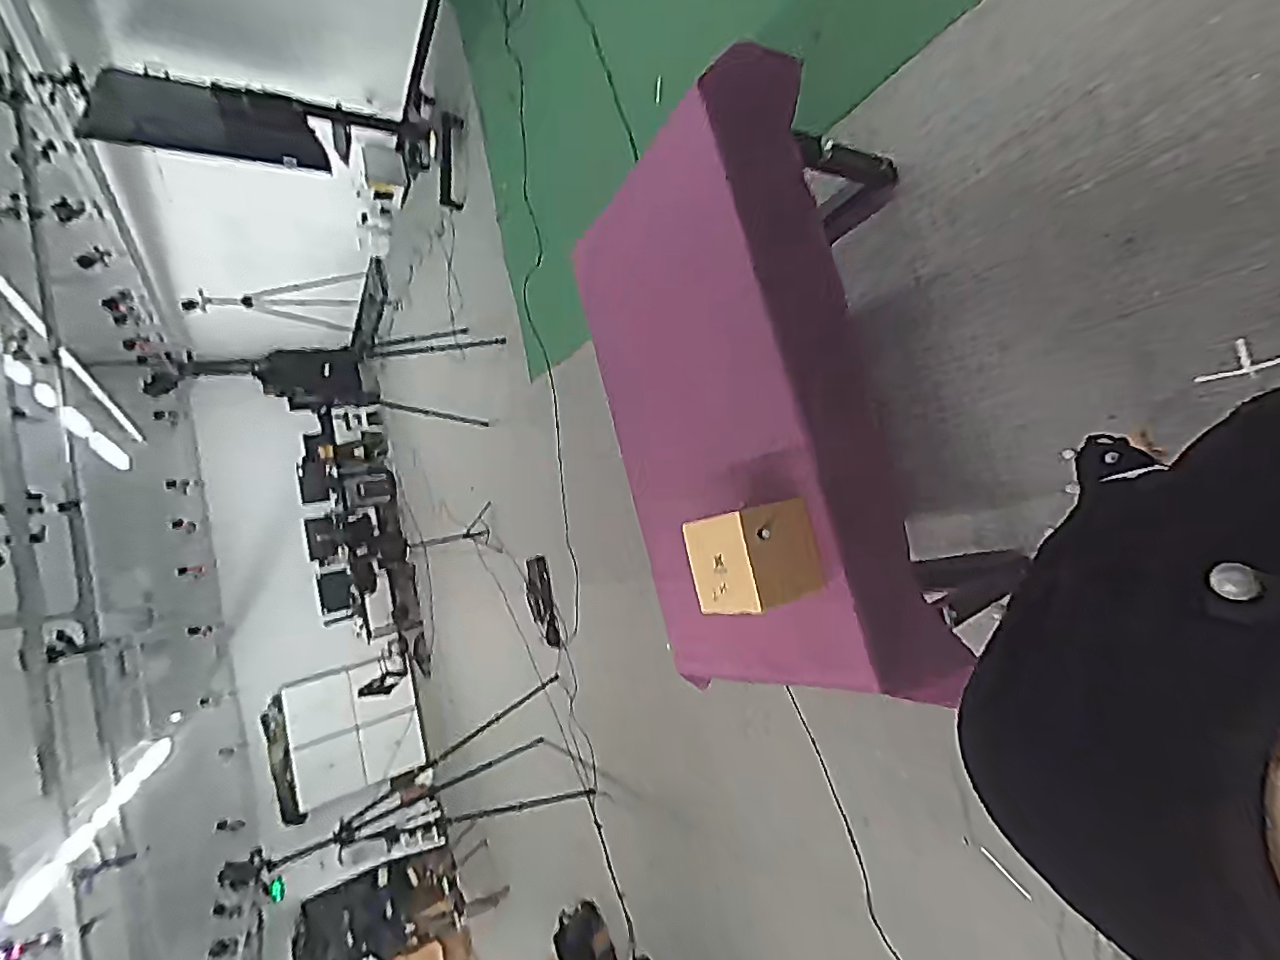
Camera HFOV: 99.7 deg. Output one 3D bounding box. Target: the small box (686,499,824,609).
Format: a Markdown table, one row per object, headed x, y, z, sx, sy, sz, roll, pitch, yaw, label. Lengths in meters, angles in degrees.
| x | y | z | sx | sy | sz | roll | pitch | yaw | label |
| --- | --- | --- | --- | --- | --- | --- | --- | --- | --- |
| 0.217 | 0.137 | 1.025 | 0.168 | 0.176 | 0.179 | -21 | 81 | 57 | small box |
